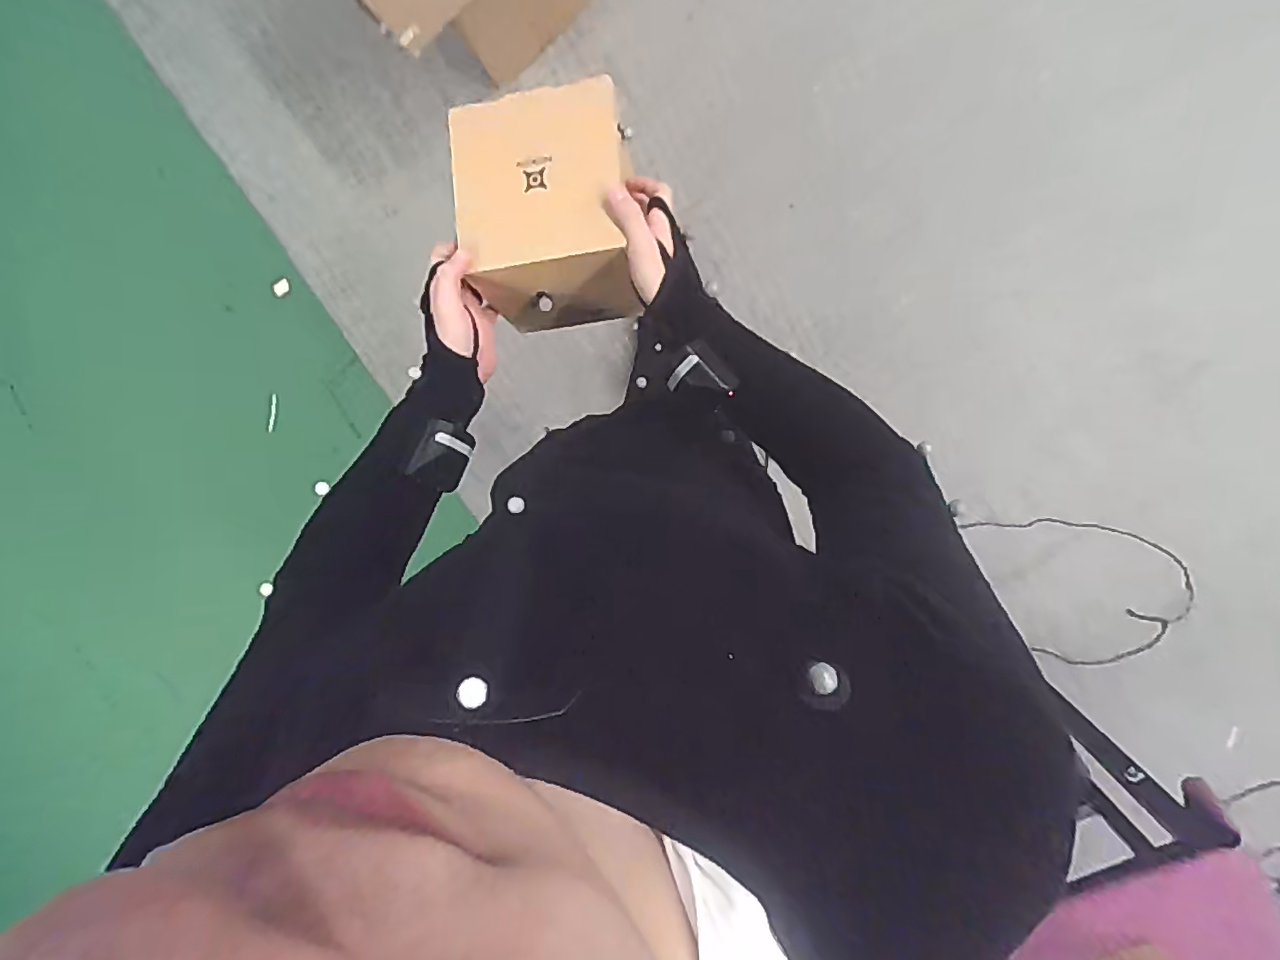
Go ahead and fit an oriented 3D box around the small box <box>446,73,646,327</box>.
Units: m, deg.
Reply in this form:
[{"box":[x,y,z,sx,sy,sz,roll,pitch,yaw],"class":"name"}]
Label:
[{"box":[-0.089,-0.278,0.583,0.168,0.176,0.179,-7,83,6],"class":"small box"}]
